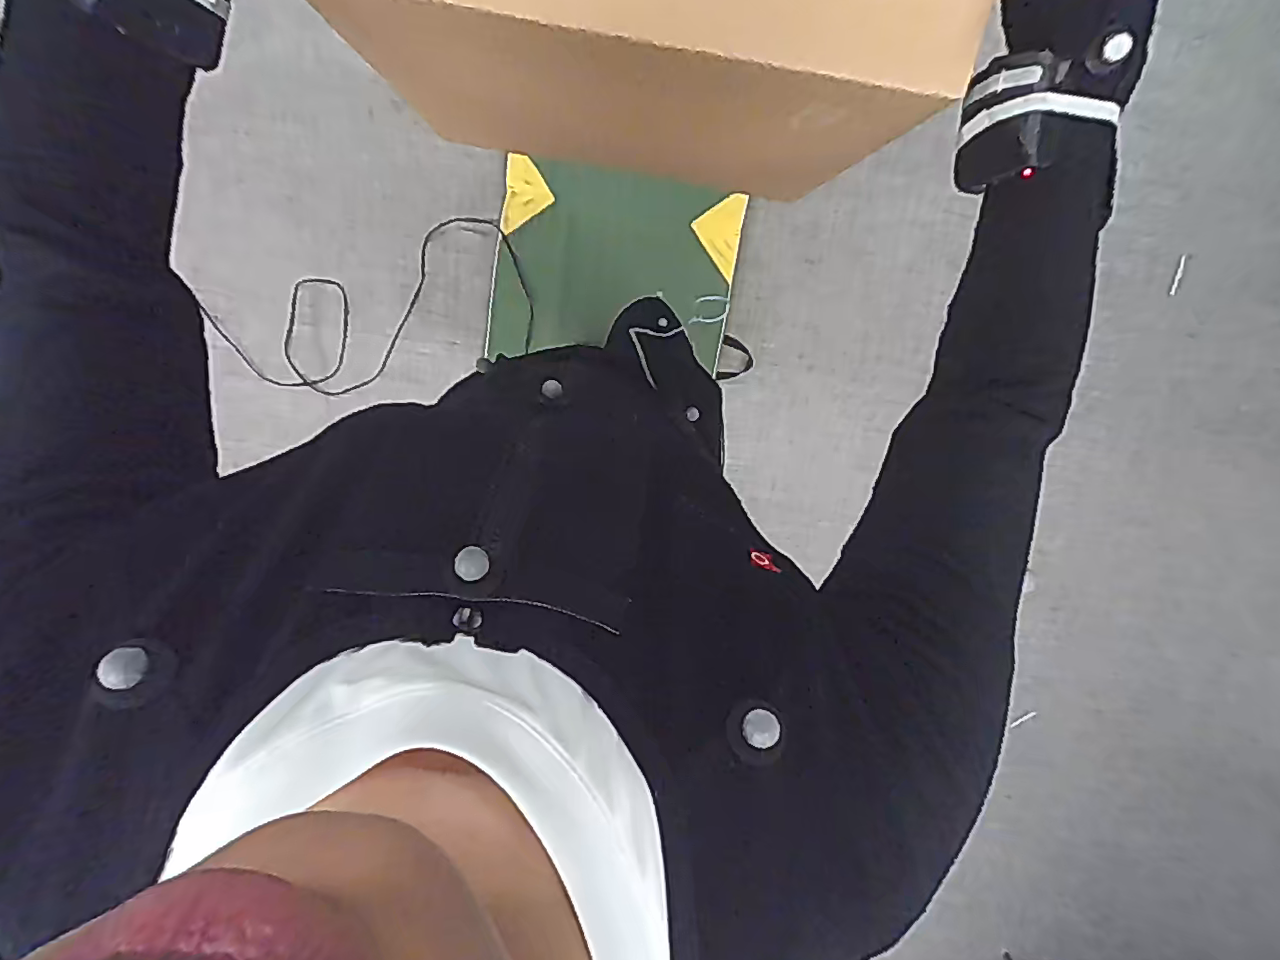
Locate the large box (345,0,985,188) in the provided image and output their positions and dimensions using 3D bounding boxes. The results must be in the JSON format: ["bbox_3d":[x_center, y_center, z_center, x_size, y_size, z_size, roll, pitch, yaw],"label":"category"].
[{"bbox_3d":[0.016,-0.455,0.423,0.408,0.320,0.320,6,107,-6],"label":"large box"}]
